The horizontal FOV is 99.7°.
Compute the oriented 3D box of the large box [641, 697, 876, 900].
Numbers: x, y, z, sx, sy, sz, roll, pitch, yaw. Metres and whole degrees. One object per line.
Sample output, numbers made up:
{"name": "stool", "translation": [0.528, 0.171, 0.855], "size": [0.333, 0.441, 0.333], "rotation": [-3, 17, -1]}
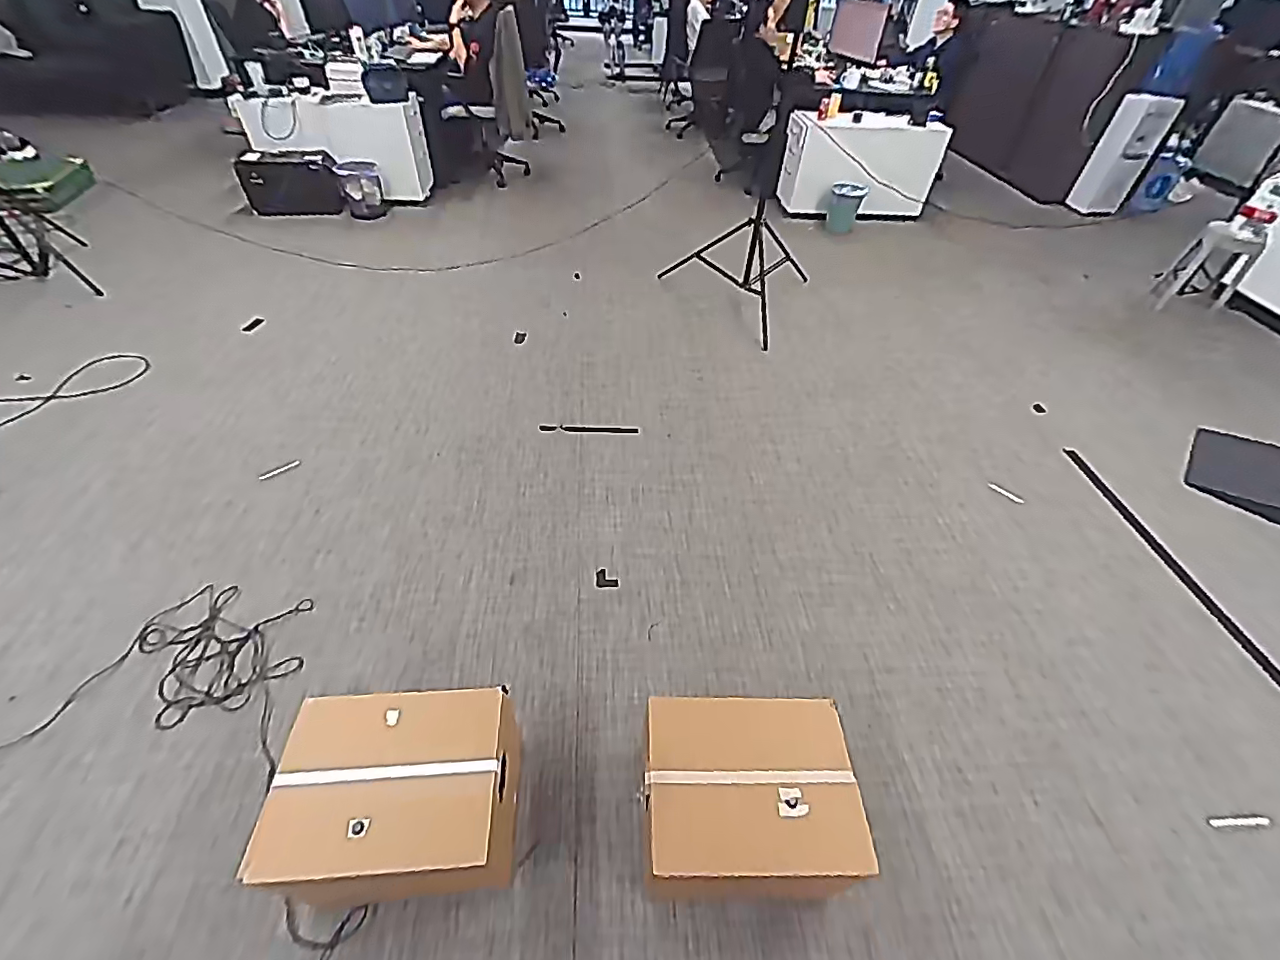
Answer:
{"name": "large box", "translation": [0.214, 0.683, 1.162], "size": [0.408, 0.320, 0.320], "rotation": [2, 45, -3]}
